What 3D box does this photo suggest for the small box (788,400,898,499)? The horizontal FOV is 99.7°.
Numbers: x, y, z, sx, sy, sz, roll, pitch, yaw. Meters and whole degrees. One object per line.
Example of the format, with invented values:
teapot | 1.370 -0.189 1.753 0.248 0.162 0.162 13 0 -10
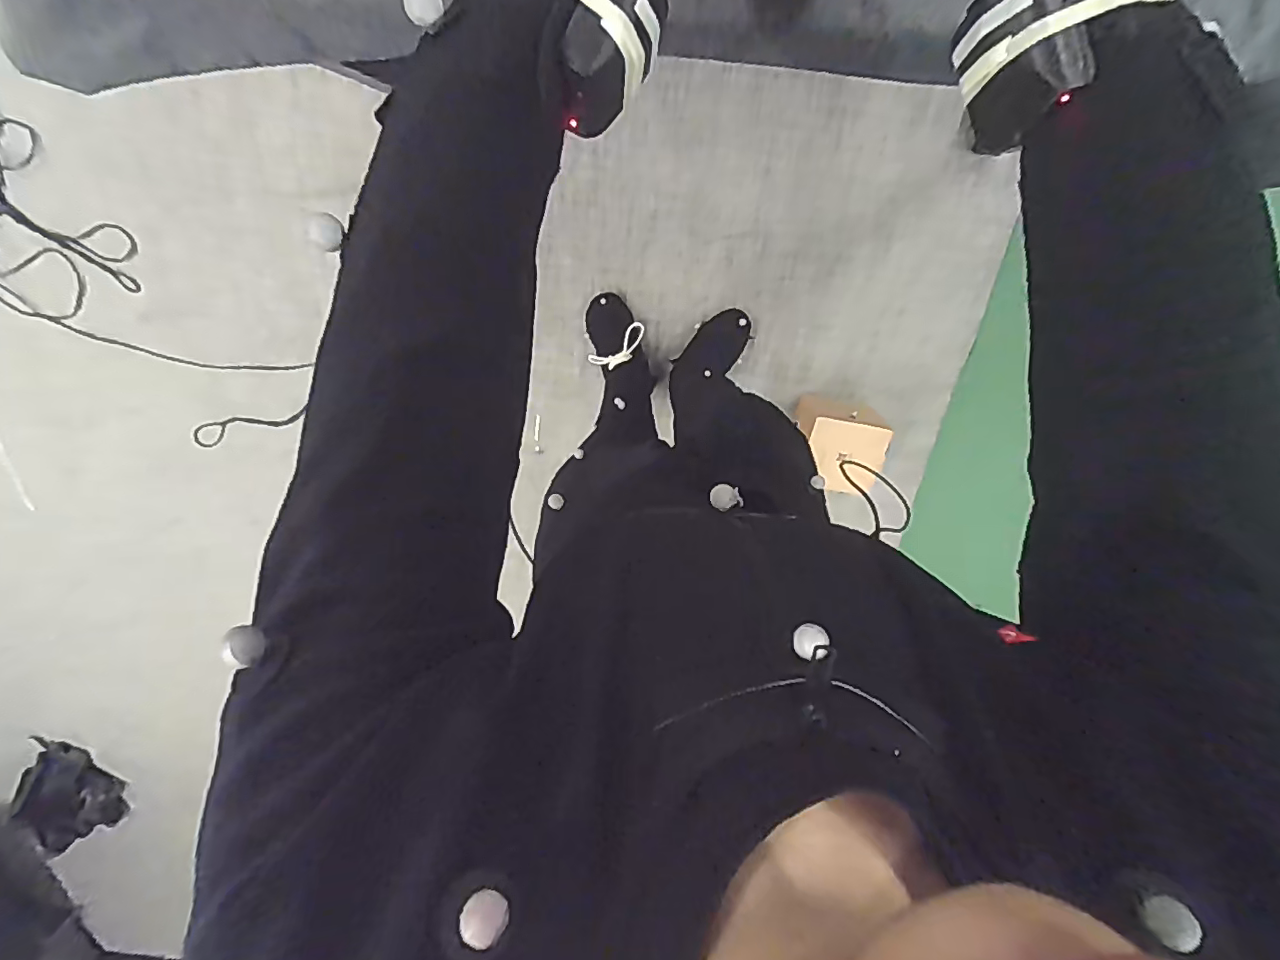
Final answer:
small box | 0.461 -0.077 1.259 0.179 0.176 0.168 10 115 1
